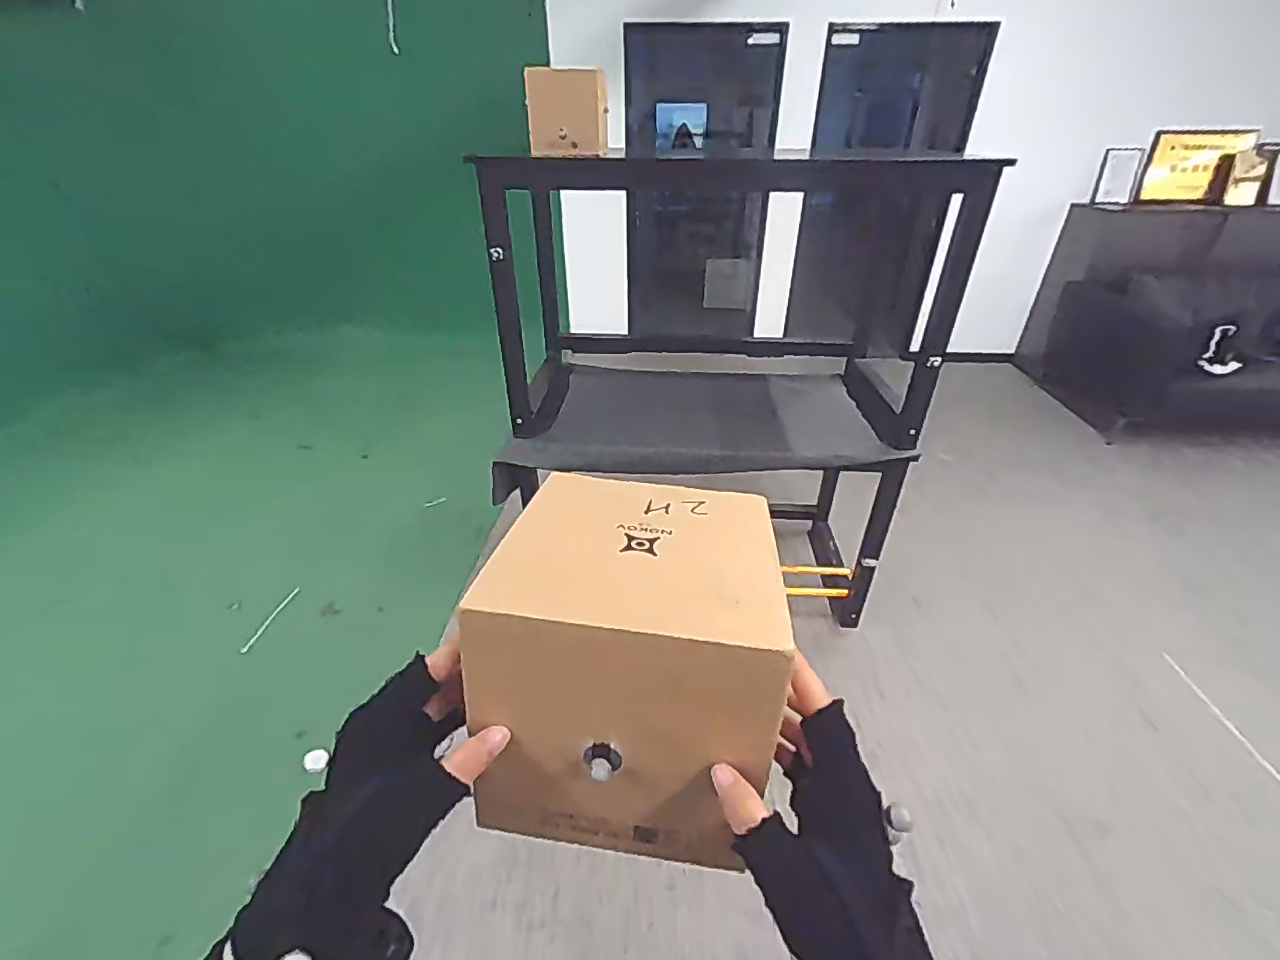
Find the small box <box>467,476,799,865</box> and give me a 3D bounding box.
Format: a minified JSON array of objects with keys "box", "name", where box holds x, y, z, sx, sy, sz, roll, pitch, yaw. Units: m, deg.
[{"box":[0.001,0.114,0.365,0.168,0.176,0.179,7,23,5],"name":"small box"}]
